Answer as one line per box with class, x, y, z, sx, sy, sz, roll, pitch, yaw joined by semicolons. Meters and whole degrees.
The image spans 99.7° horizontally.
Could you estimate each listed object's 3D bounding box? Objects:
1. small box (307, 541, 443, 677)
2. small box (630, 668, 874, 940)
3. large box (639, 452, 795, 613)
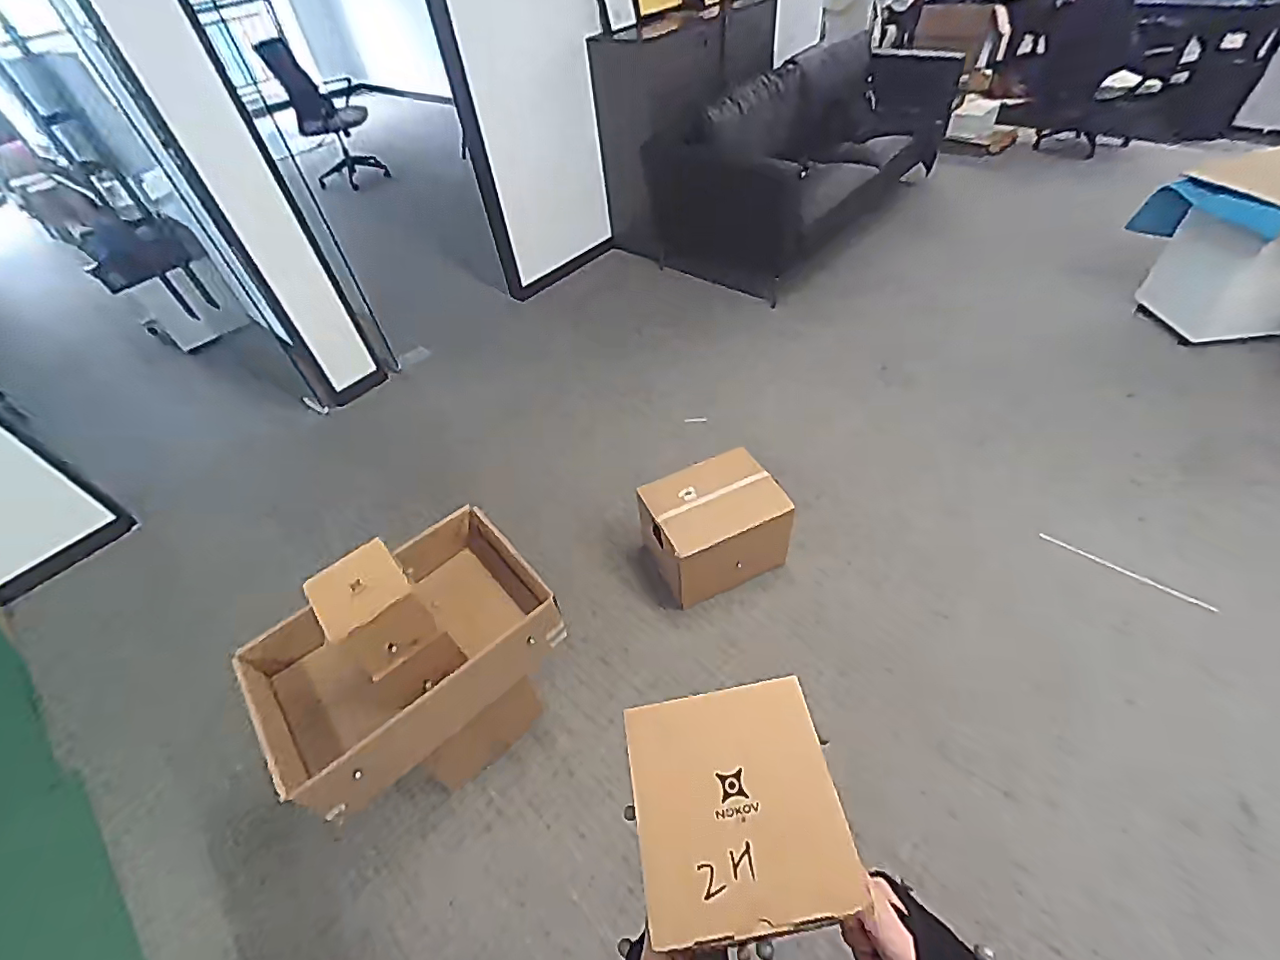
small box;-0.536;0.265;1.108;0.168;0.176;0.179;-35;54;-22
small box;0.090;0.304;0.504;0.168;0.176;0.179;-12;49;2
large box;0.249;0.174;1.802;0.408;0.320;0.320;-22;48;-13
